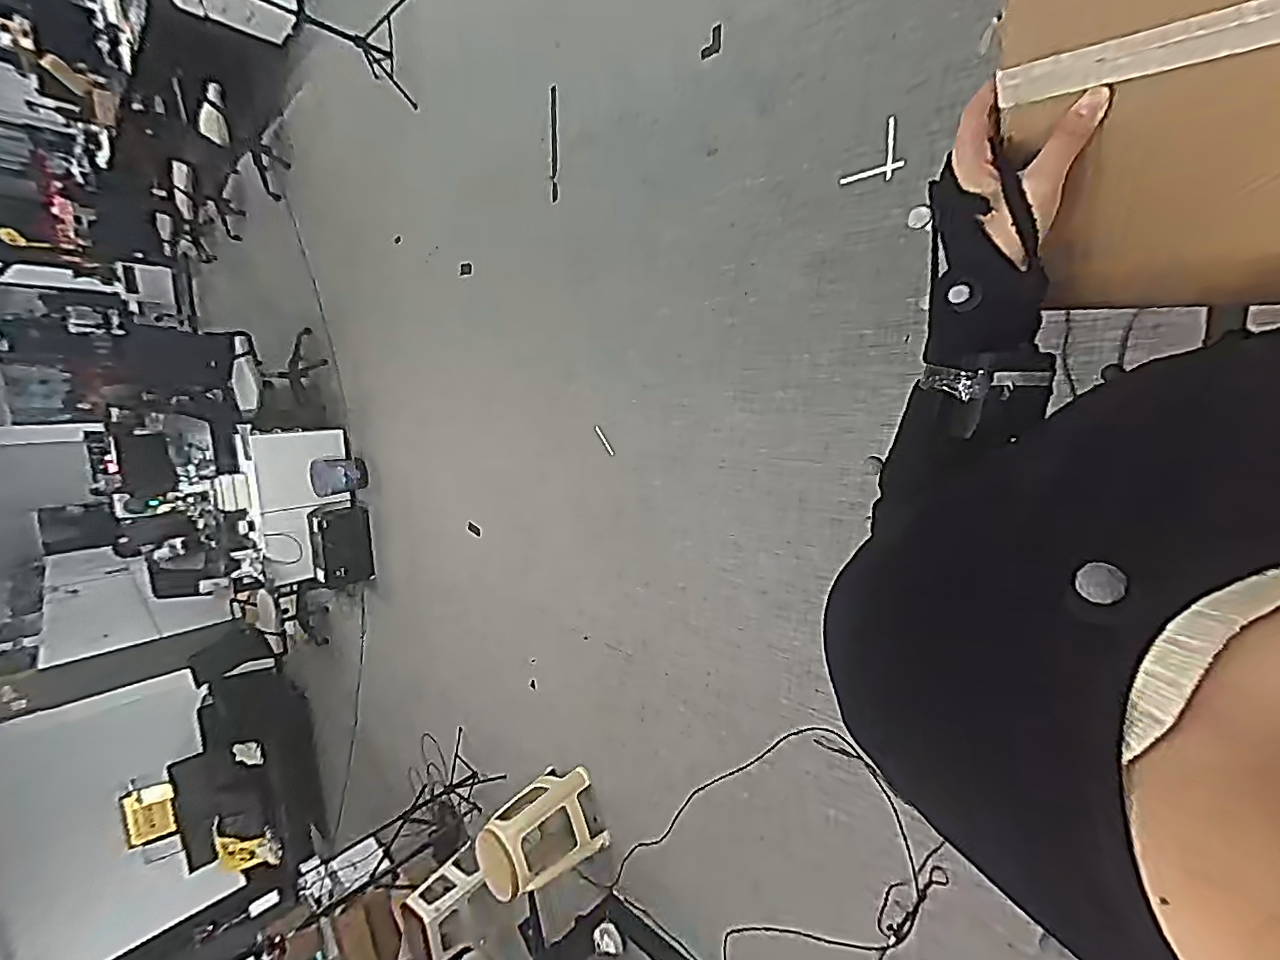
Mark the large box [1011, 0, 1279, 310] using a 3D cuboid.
[{"bbox_3d":[0.459,-0.317,0.276,0.408,0.320,0.320,12,143,41],"label":"large box"}]
